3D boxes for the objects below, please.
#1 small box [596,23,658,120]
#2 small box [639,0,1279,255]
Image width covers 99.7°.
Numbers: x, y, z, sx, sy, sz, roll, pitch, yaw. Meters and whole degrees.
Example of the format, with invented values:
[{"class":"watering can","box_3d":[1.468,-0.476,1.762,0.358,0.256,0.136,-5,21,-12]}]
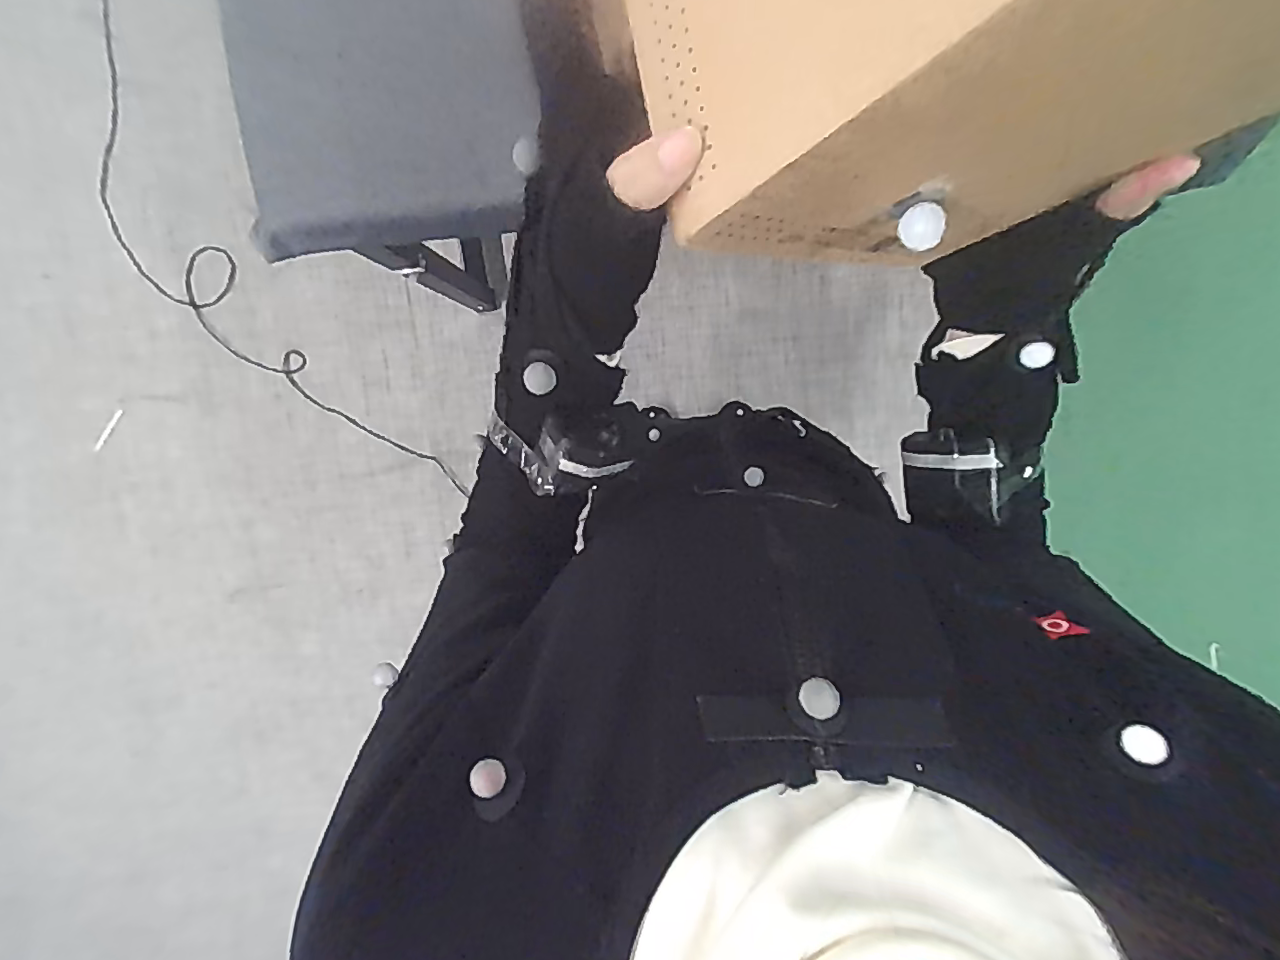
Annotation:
[{"class":"small box","box_3d":[0.046,-0.497,0.550,0.179,0.176,0.168,-2,97,3]},{"class":"small box","box_3d":[0.106,-0.201,0.177,0.168,0.176,0.179,-12,91,-34]}]
